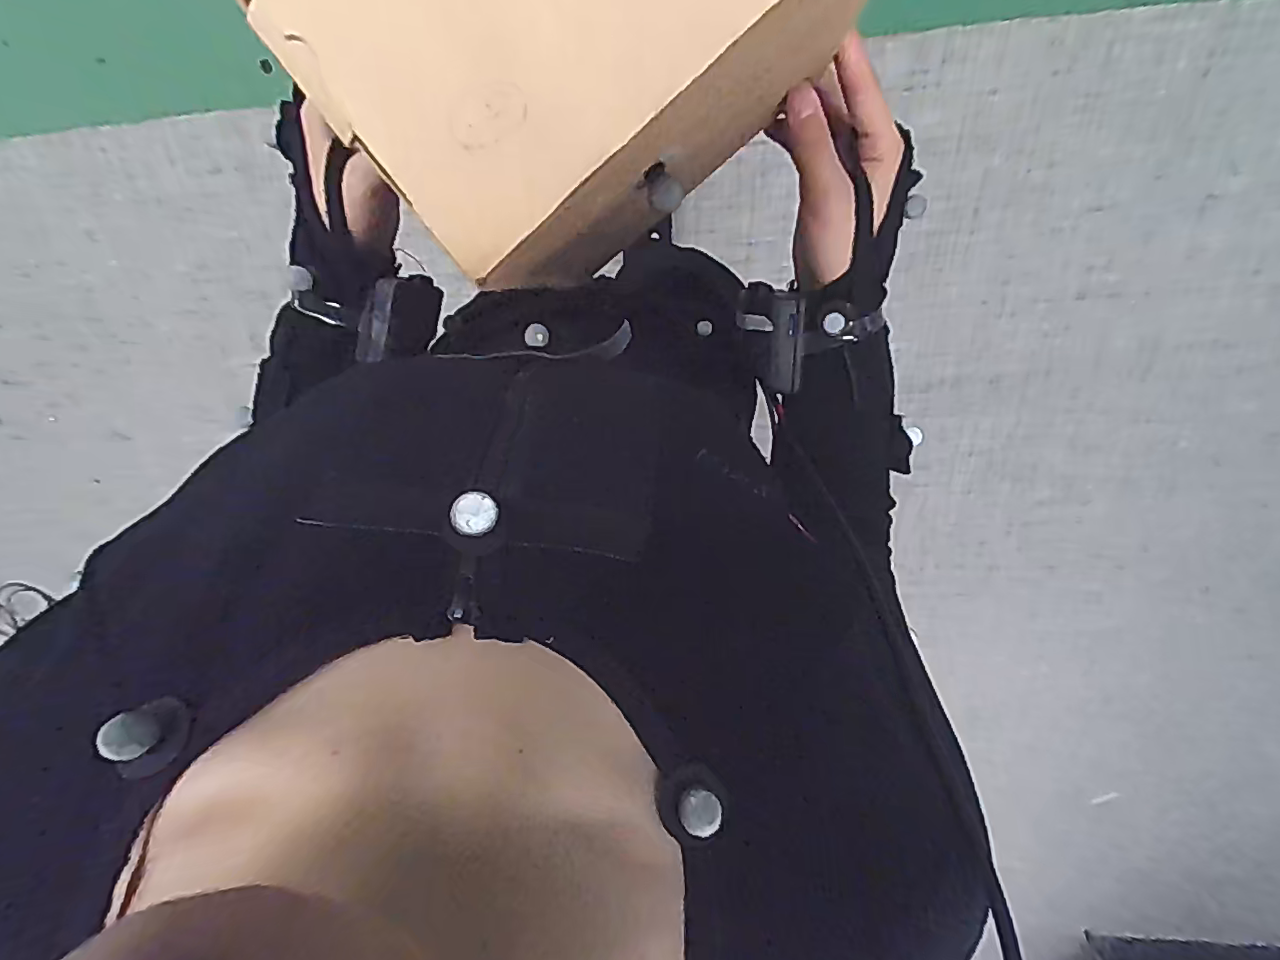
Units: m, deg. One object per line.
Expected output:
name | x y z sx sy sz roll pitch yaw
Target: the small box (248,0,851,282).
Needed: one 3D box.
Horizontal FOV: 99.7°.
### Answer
small box | -0.026 -0.200 0.223 0.179 0.176 0.168 -35 102 17
